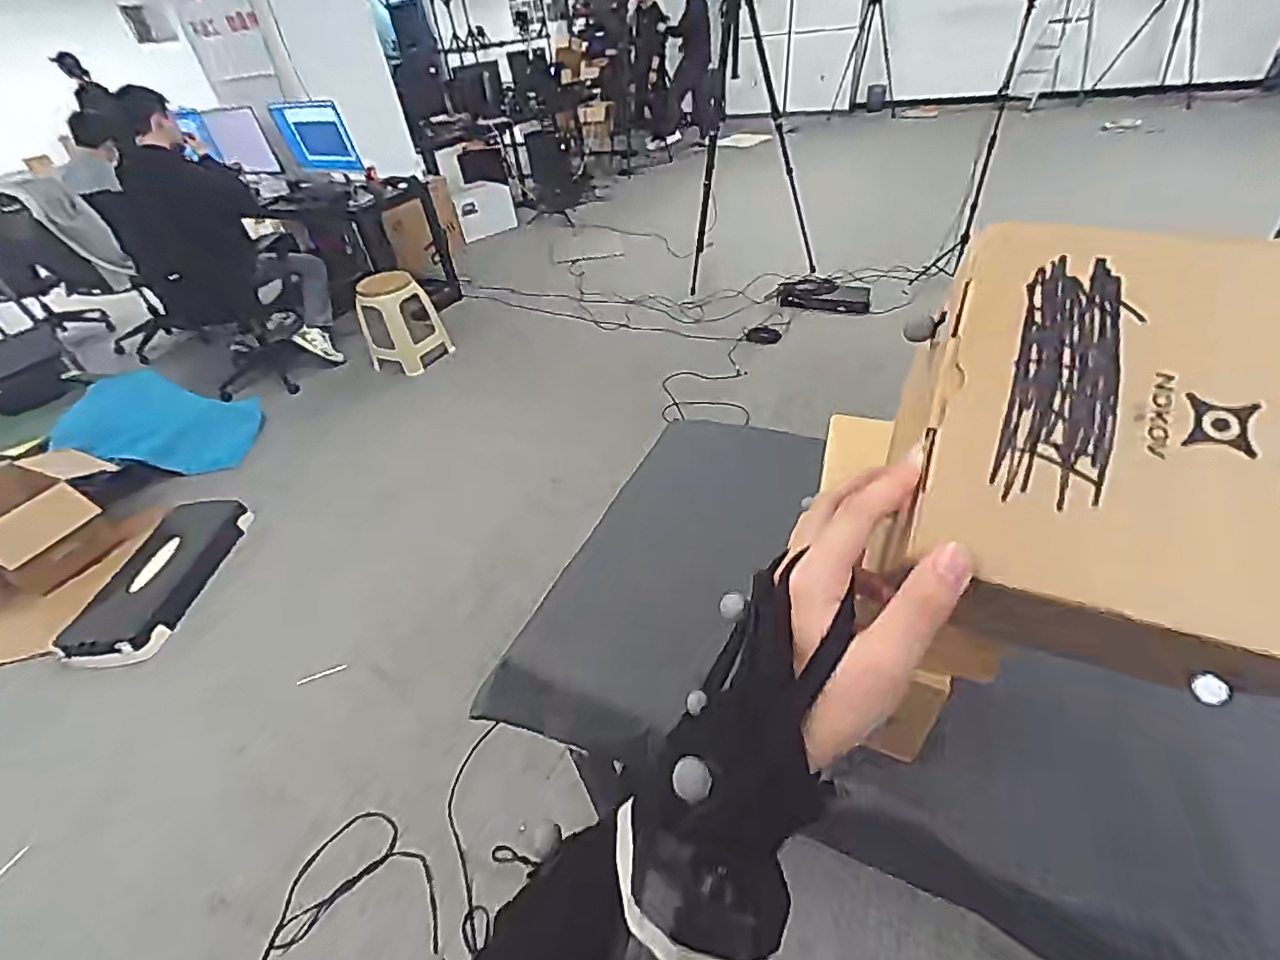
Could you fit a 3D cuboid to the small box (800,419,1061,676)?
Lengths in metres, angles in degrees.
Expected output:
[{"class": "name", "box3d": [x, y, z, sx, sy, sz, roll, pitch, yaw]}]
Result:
[{"class": "small box", "box3d": [0.259, 0.063, 0.525, 0.179, 0.176, 0.168, 10, 43, 17]}]

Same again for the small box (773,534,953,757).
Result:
[{"class": "small box", "box3d": [0.259, 0.185, 0.633, 0.168, 0.176, 0.179, 15, 44, 22]}]
